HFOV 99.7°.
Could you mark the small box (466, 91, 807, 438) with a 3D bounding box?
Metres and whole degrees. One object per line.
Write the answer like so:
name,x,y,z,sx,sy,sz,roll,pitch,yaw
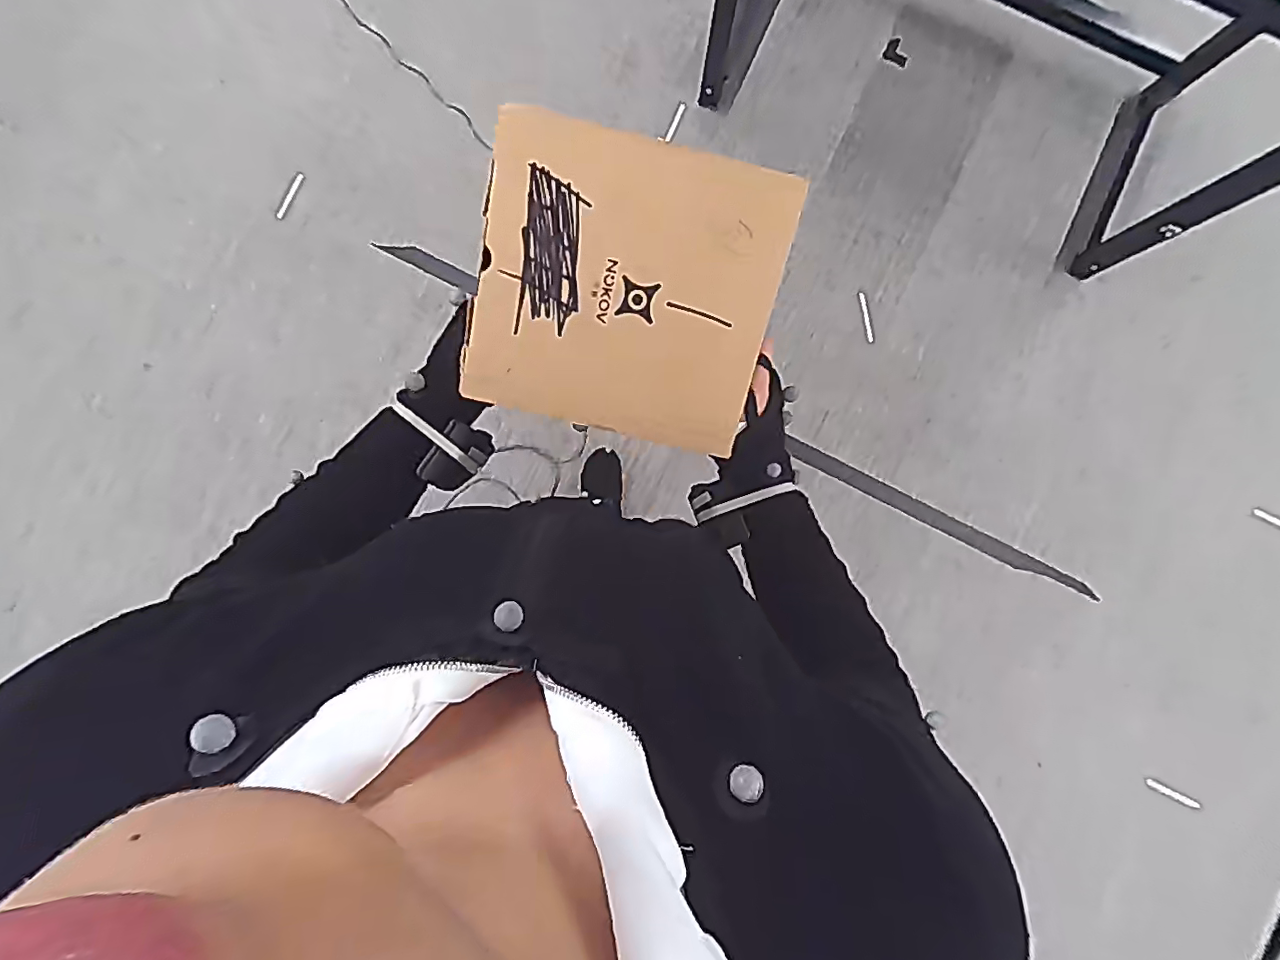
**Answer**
small box,-0.006,-0.144,0.400,0.179,0.176,0.168,13,107,-3
